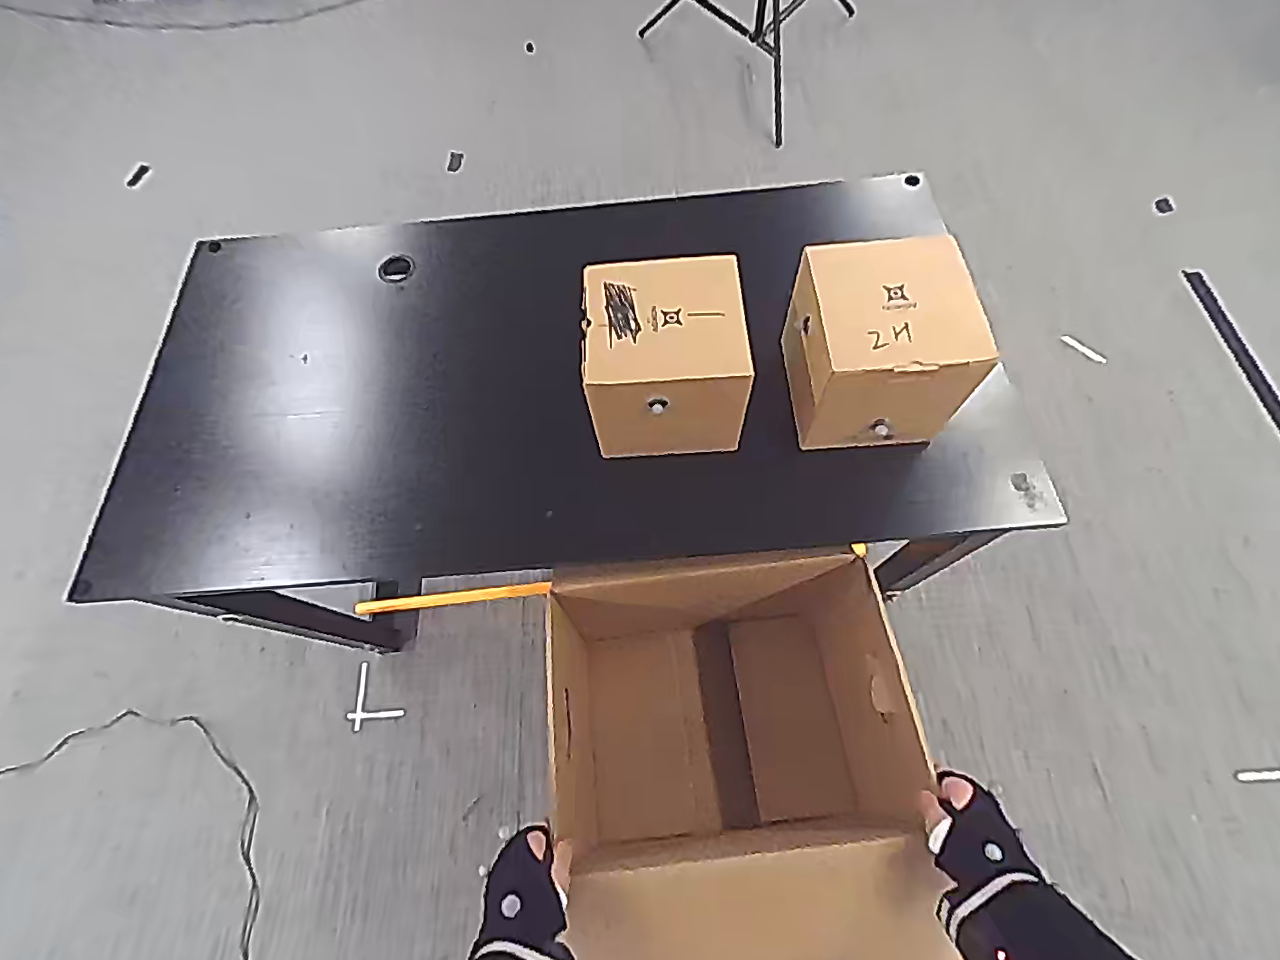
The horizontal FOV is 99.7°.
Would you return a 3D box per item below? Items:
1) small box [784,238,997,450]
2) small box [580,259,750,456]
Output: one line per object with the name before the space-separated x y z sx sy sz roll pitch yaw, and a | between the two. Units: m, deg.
small box | 0.274 -0.153 0.641 0.168 0.176 0.179 -4 65 4
small box | 0.029 -0.138 0.653 0.179 0.176 0.168 -3 66 2
